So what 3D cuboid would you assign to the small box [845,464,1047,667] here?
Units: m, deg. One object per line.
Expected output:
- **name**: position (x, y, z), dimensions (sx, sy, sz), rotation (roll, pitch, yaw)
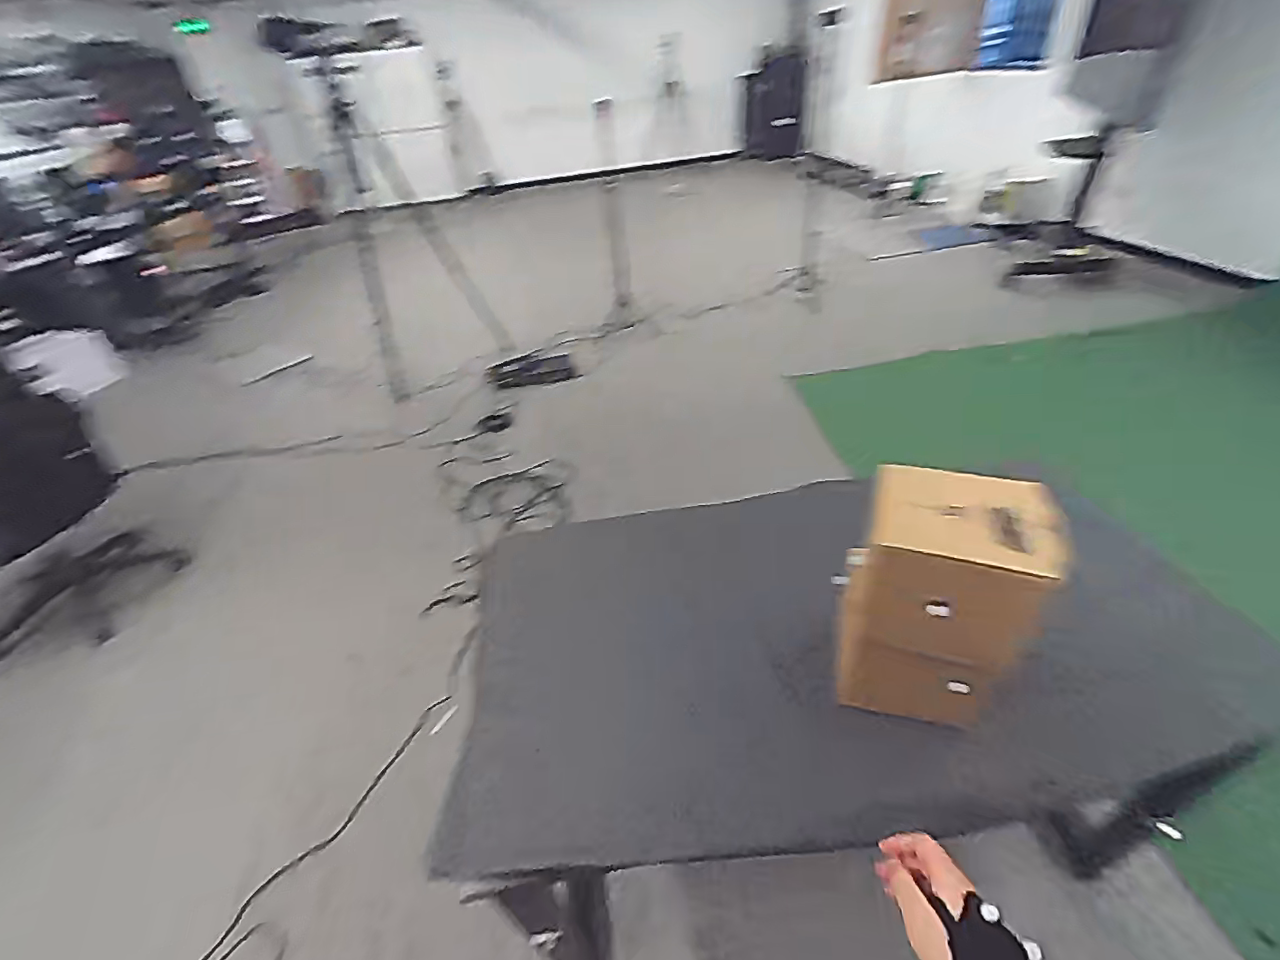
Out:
- **small box**: position (0.368, 0.105, 0.677), dimensions (0.179, 0.176, 0.168), rotation (10, 40, 21)
